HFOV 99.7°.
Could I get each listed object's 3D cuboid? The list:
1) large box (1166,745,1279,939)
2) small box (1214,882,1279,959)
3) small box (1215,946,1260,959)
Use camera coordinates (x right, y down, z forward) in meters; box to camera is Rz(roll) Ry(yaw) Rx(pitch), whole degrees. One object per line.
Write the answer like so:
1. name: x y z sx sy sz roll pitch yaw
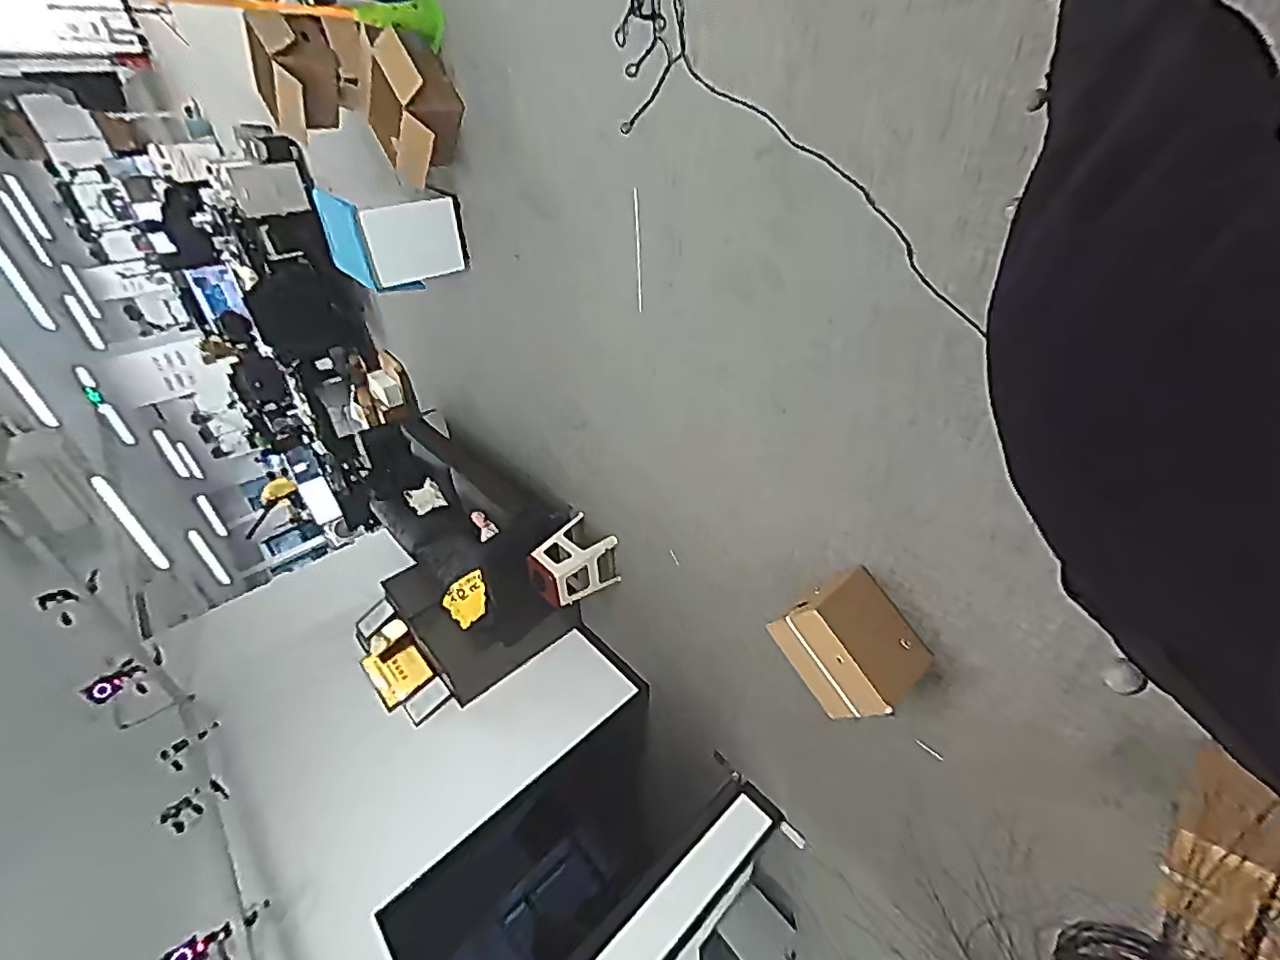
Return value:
1. large box: 1.495 0.893 1.201 0.408 0.320 0.320 17 129 46
2. small box: 1.290 0.961 1.075 0.168 0.176 0.179 25 133 44
3. small box: 1.168 1.032 0.995 0.179 0.176 0.168 26 133 43
